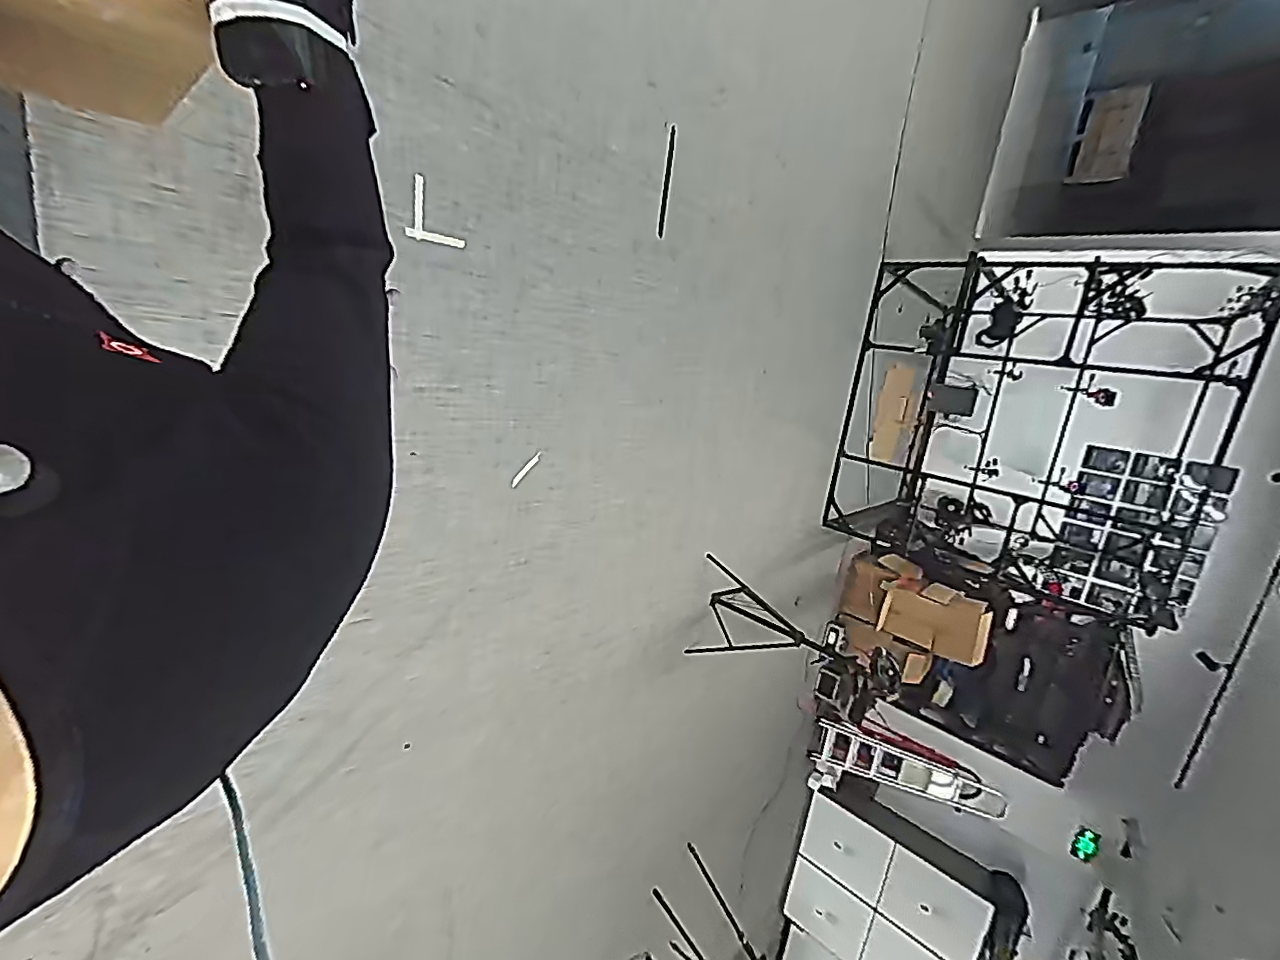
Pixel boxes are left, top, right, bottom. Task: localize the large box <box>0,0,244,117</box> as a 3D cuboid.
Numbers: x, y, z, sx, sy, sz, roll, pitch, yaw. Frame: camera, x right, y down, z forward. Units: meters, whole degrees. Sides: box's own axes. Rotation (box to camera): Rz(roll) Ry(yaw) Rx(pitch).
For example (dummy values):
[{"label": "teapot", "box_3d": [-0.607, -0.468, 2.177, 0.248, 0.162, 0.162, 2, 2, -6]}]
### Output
[{"label": "large box", "box_3d": [-0.511, -0.467, 0.289, 0.408, 0.320, 0.320, -12, 109, -48]}]
